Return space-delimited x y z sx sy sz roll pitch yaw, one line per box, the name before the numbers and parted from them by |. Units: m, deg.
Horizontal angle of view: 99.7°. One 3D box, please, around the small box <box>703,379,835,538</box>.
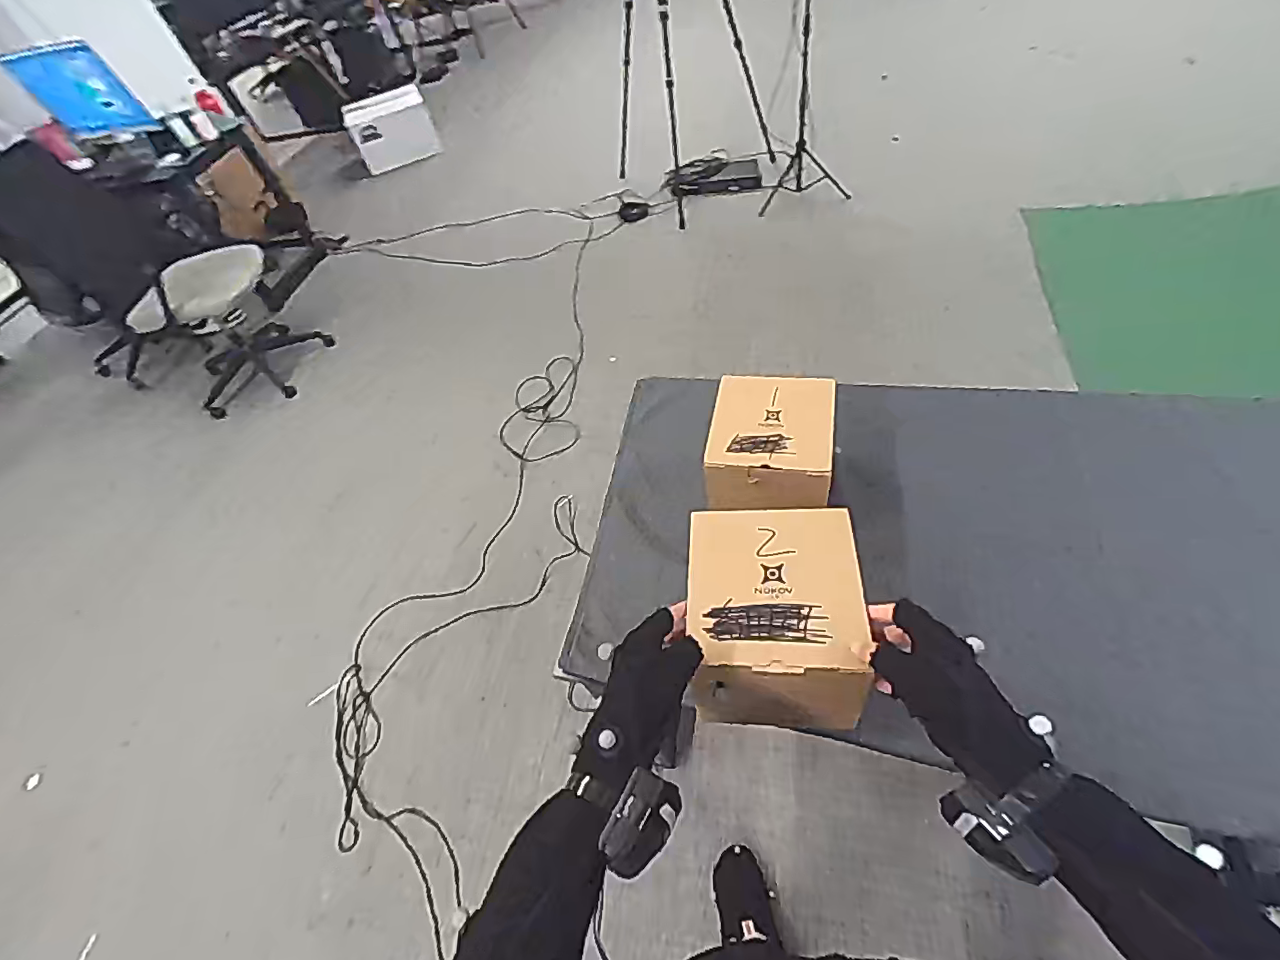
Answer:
small box | 0.198 -0.030 0.816 0.168 0.176 0.179 5 54 16
